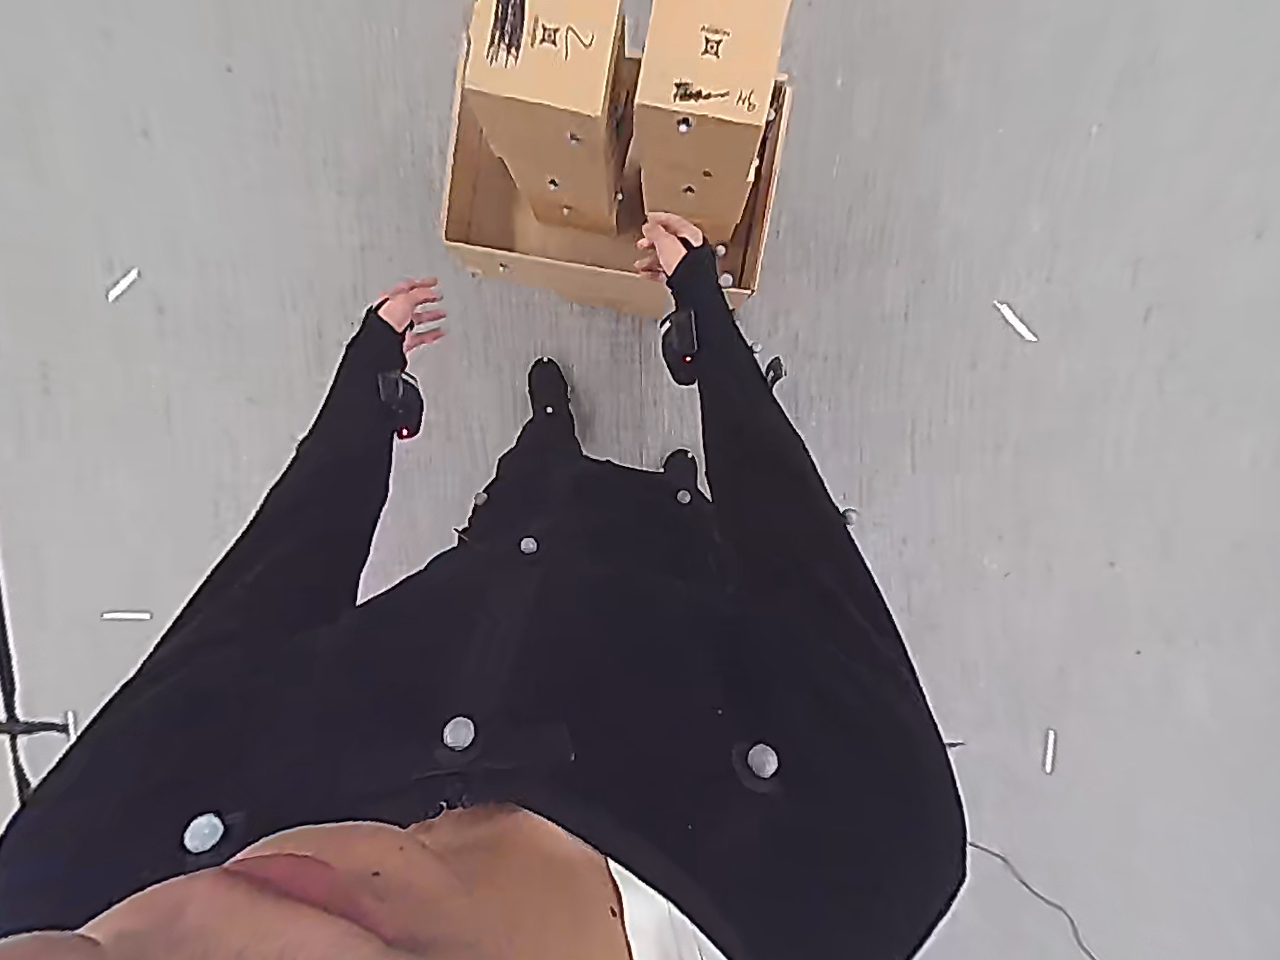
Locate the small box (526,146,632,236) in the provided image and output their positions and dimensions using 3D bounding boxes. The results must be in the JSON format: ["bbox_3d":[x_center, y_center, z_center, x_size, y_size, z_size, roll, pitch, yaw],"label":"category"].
[{"bbox_3d":[-0.113,-0.598,1.057,0.179,0.176,0.168,10,96,-1],"label":"small box"}]

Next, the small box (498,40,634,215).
[{"bbox_3d":[-0.112,-0.565,0.896,0.179,0.176,0.168,15,96,-1],"label":"small box"}]
